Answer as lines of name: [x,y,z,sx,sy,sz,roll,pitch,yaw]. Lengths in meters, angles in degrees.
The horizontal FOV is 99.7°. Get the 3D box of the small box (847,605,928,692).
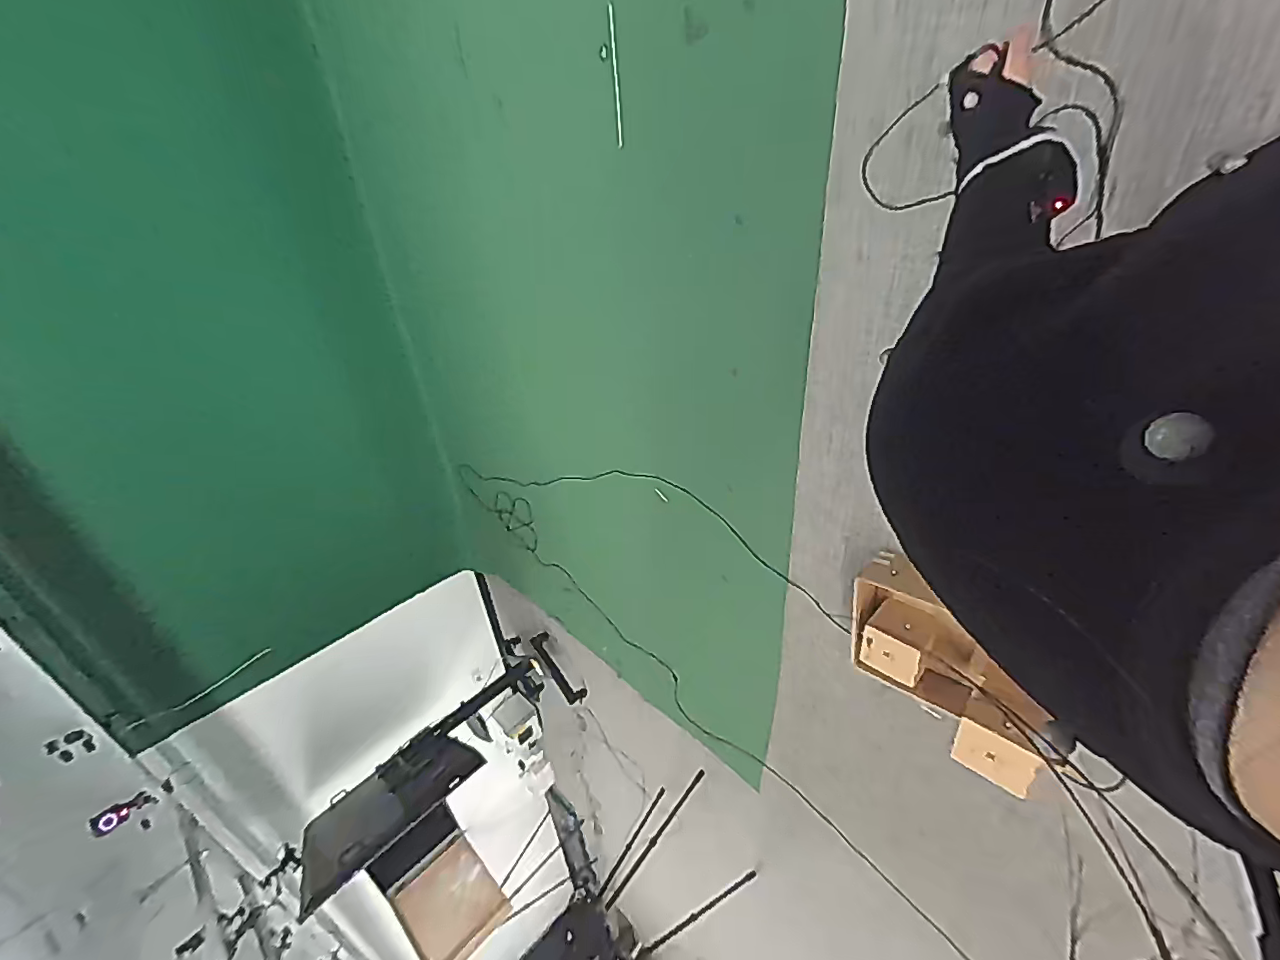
small box: [0.794,0.532,1.733,0.179,0.176,0.168,23,129,38]

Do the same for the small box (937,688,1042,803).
small box: [0.916,0.685,1.417,0.179,0.176,0.168,24,128,40]
